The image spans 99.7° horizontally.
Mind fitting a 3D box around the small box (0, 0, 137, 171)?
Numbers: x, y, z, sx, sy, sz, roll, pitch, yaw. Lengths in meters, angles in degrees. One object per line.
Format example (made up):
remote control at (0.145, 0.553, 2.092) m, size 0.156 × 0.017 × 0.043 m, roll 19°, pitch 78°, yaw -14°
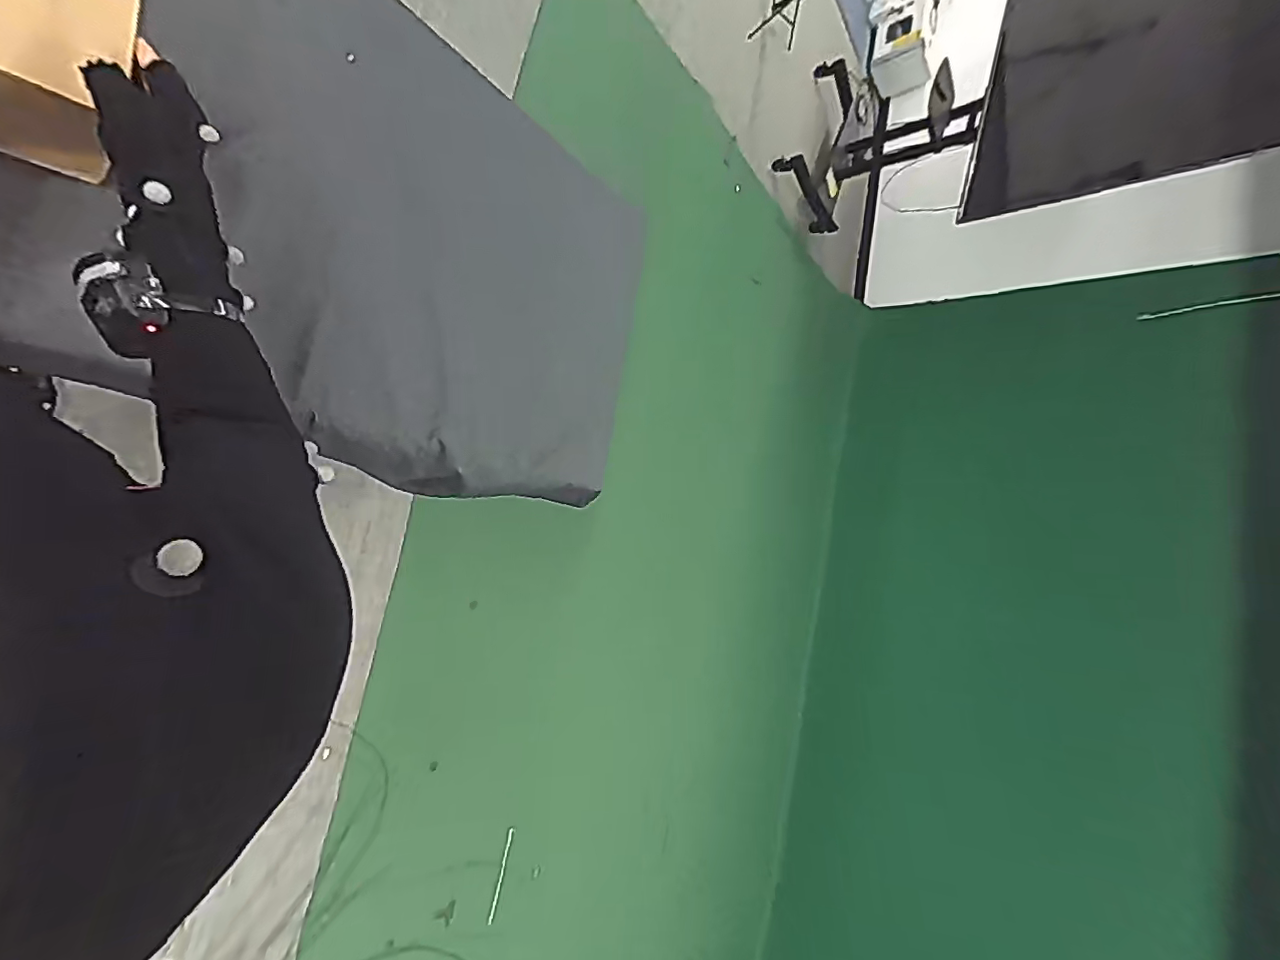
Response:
small box at (-0.528, -0.378, 0.422) m, size 0.179 × 0.176 × 0.168 m, roll 5°, pitch 89°, yaw -52°
